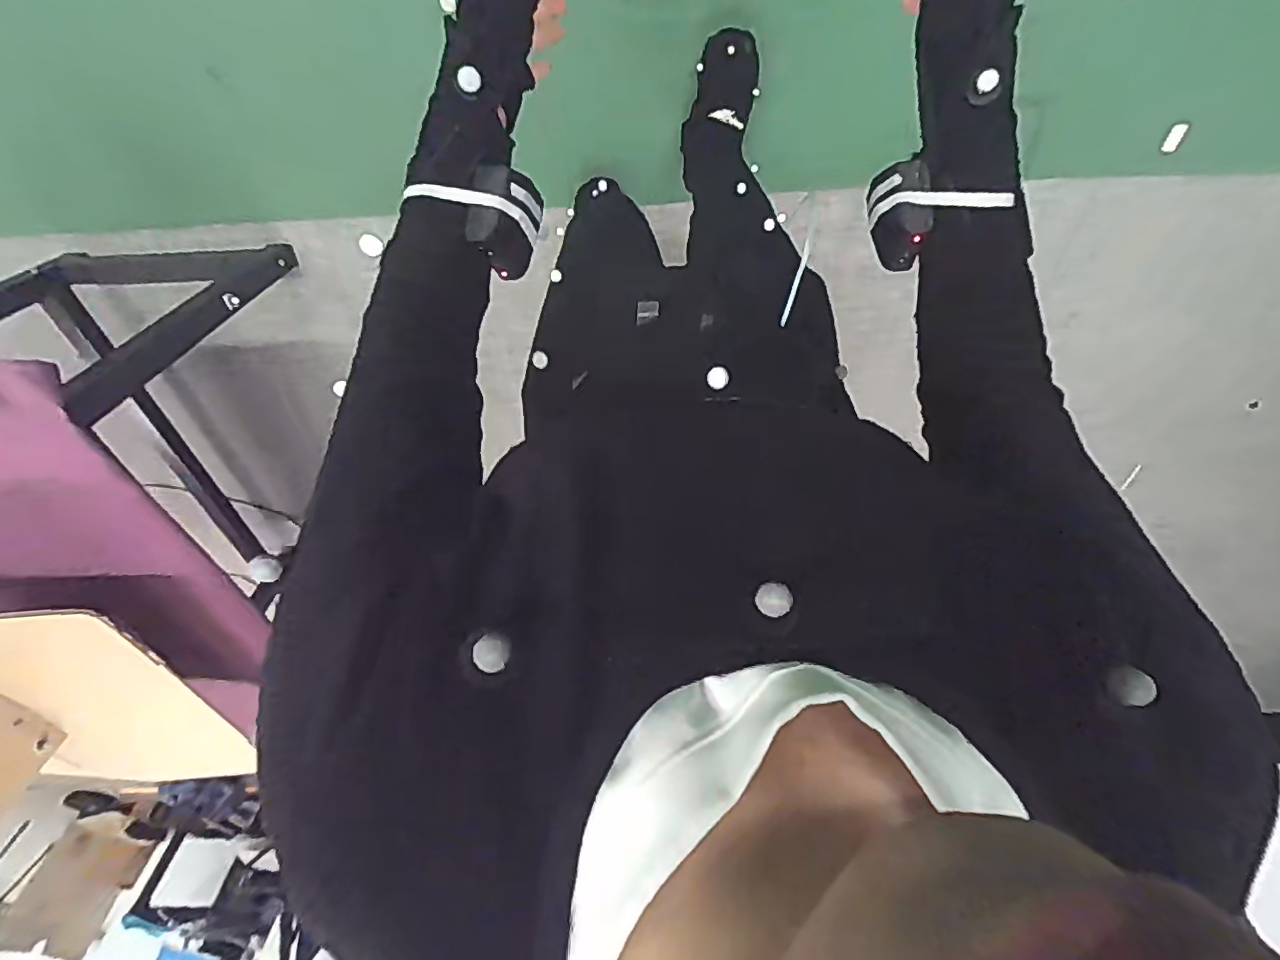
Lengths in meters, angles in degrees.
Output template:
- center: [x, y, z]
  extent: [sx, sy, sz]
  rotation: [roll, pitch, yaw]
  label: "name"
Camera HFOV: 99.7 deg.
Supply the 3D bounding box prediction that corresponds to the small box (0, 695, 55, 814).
- center: [-1.183, 0.472, 0.924]
  extent: [0.179, 0.176, 0.168]
  rotation: [2, 132, 4]
  label: "small box"
